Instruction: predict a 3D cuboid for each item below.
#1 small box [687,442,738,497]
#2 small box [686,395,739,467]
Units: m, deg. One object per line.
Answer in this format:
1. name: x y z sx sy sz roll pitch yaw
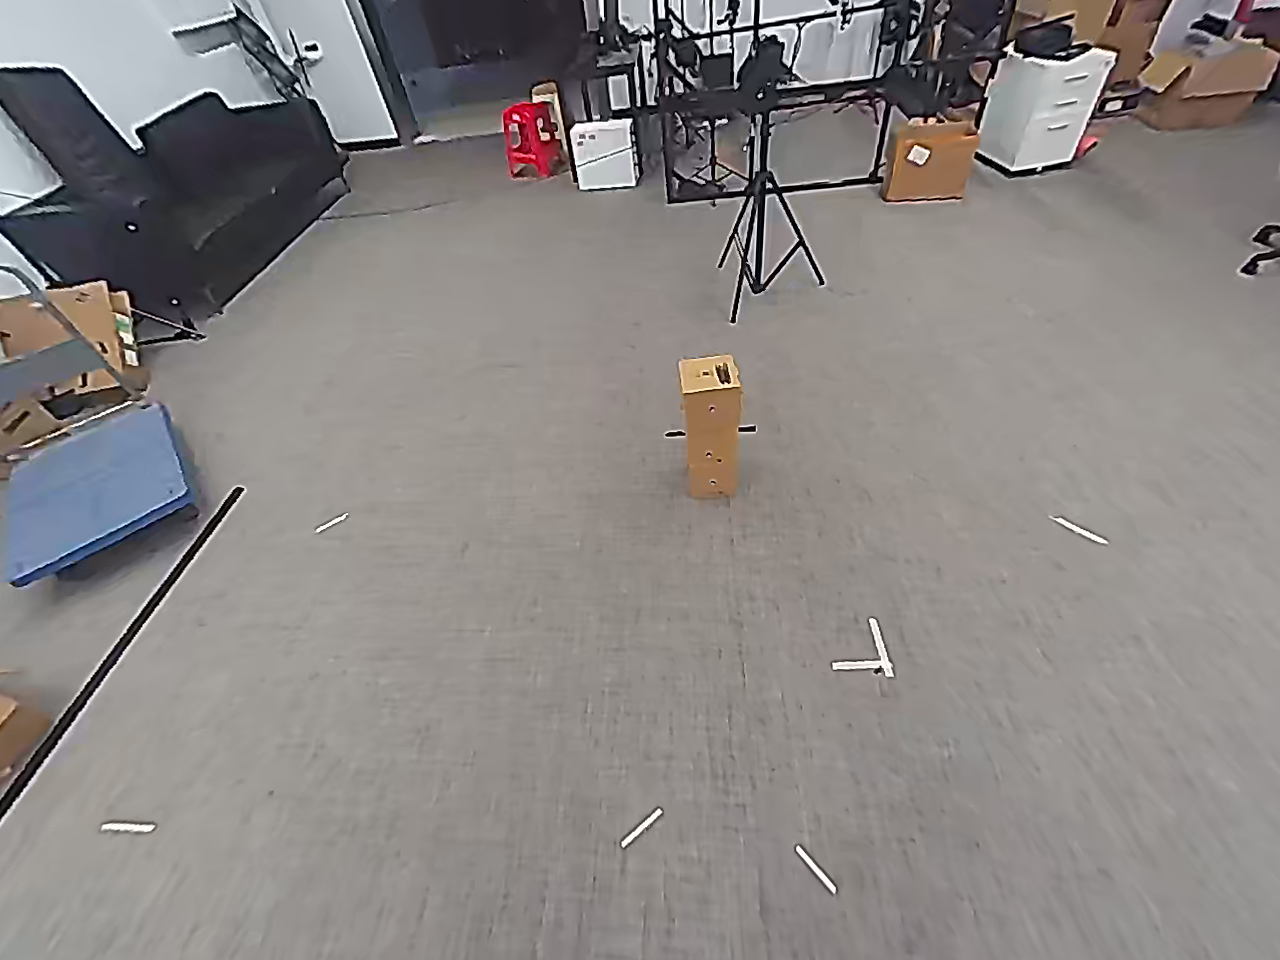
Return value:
1. small box: 0.262 -0.053 1.955 0.168 0.176 0.179 -5 46 4
2. small box: 0.243 -0.164 1.837 0.168 0.176 0.179 -5 47 5
